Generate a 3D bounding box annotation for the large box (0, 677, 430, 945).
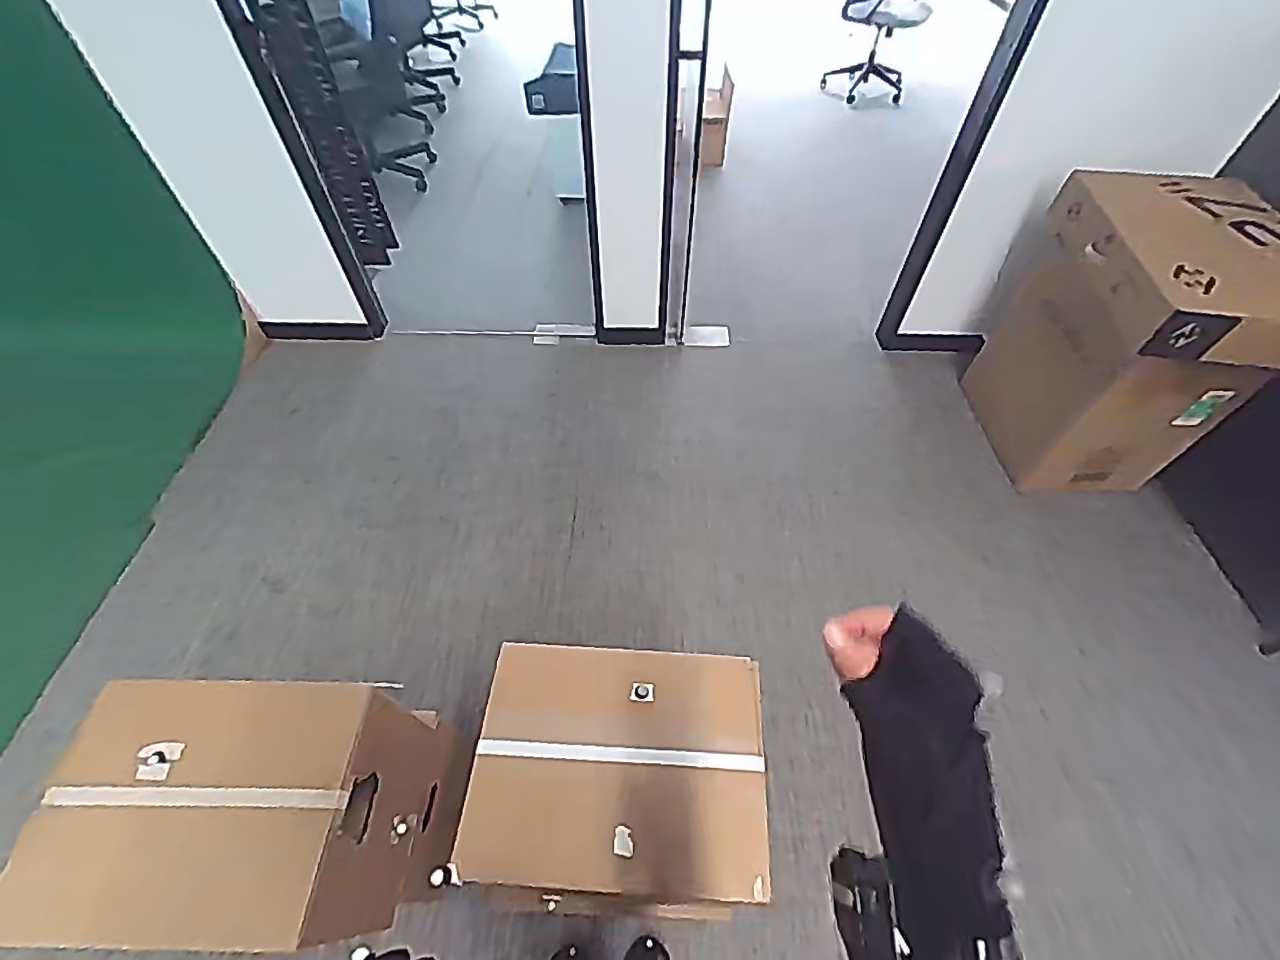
[{"bbox_3d":[-0.606,0.510,0.856,0.408,0.320,0.320,1,55,1],"label":"large box"}]
